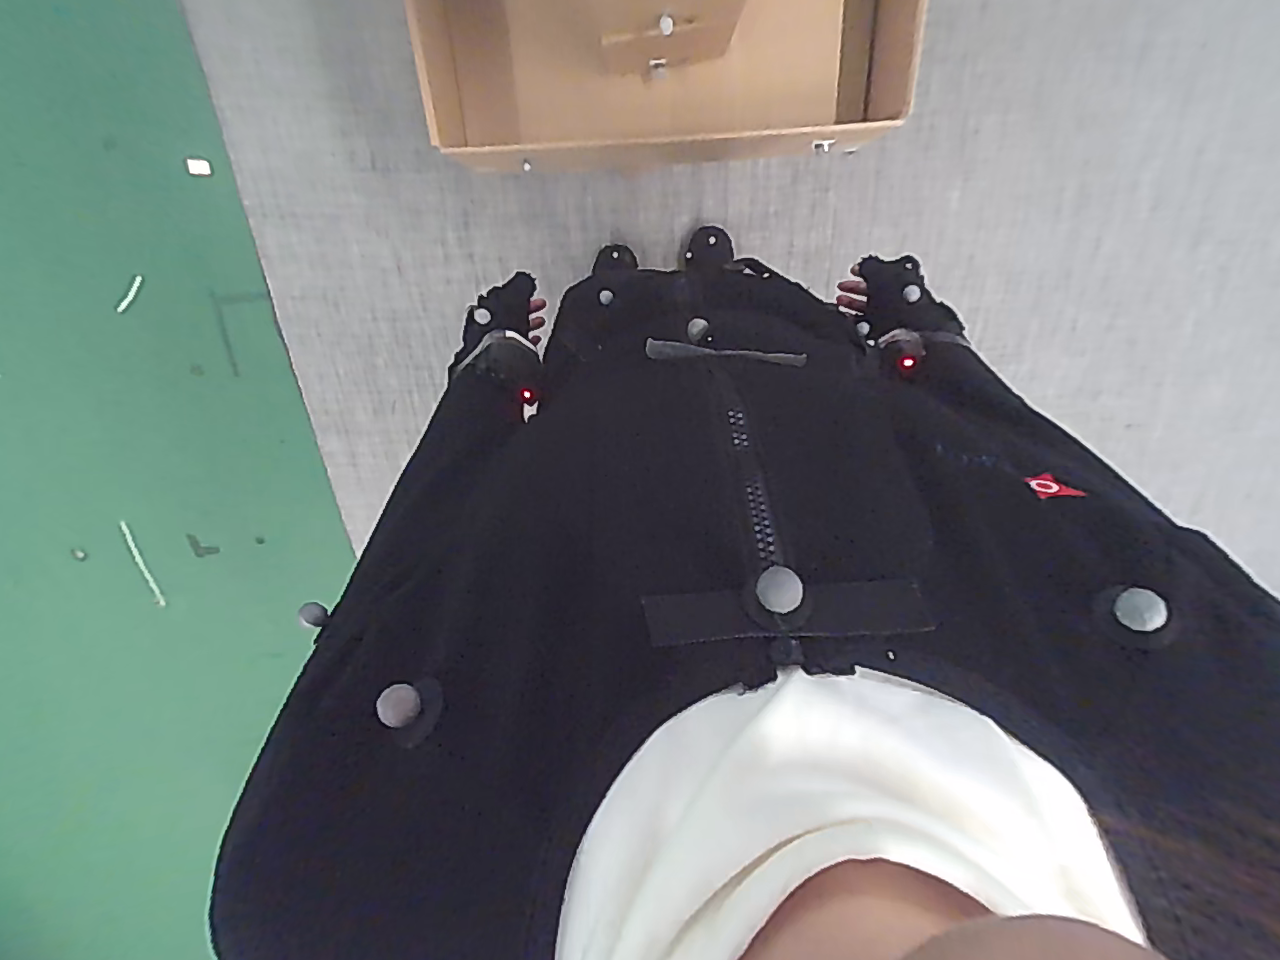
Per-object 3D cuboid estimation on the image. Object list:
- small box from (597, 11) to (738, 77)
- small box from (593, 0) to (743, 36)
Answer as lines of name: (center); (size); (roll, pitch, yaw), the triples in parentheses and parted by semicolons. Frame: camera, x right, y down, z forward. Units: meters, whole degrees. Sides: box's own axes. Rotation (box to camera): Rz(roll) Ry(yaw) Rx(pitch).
small box: (0.025, -0.635, 0.669); (0.168, 0.176, 0.179); (-6, 115, 4)
small box: (0.023, -0.569, 0.519); (0.168, 0.176, 0.179); (-4, 115, 4)
